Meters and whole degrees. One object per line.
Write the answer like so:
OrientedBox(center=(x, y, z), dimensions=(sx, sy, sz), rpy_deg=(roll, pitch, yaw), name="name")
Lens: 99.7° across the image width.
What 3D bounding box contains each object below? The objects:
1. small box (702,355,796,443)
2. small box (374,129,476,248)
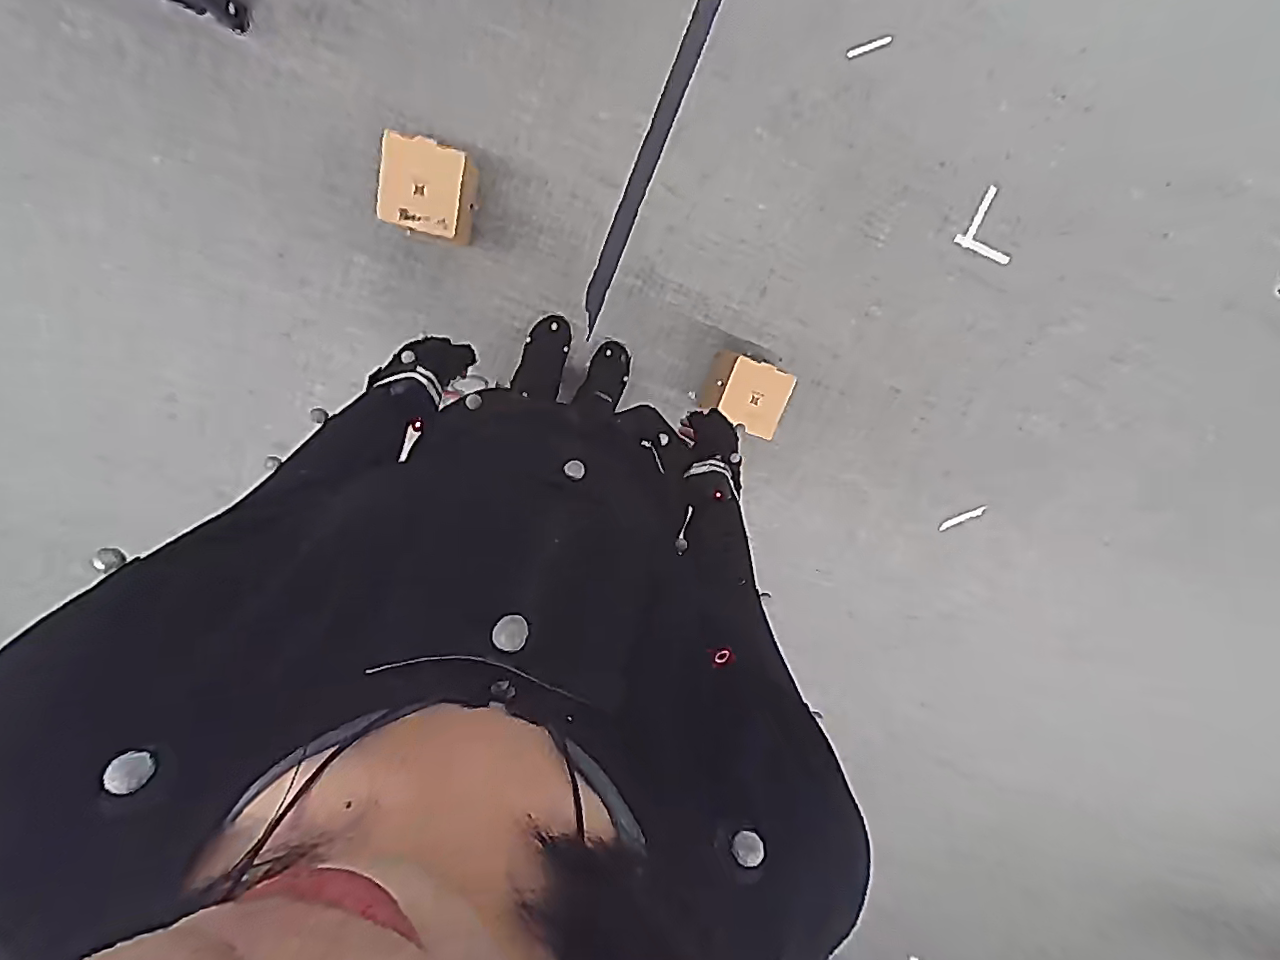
OrientedBox(center=(0.276, -0.219, 1.423), dimensions=(0.168, 0.176, 0.179), rpy_deg=(18, 105, -10), name="small box")
OrientedBox(center=(-0.470, -0.638, 1.205), dimensions=(0.168, 0.176, 0.179), rpy_deg=(12, 105, -10), name="small box")
